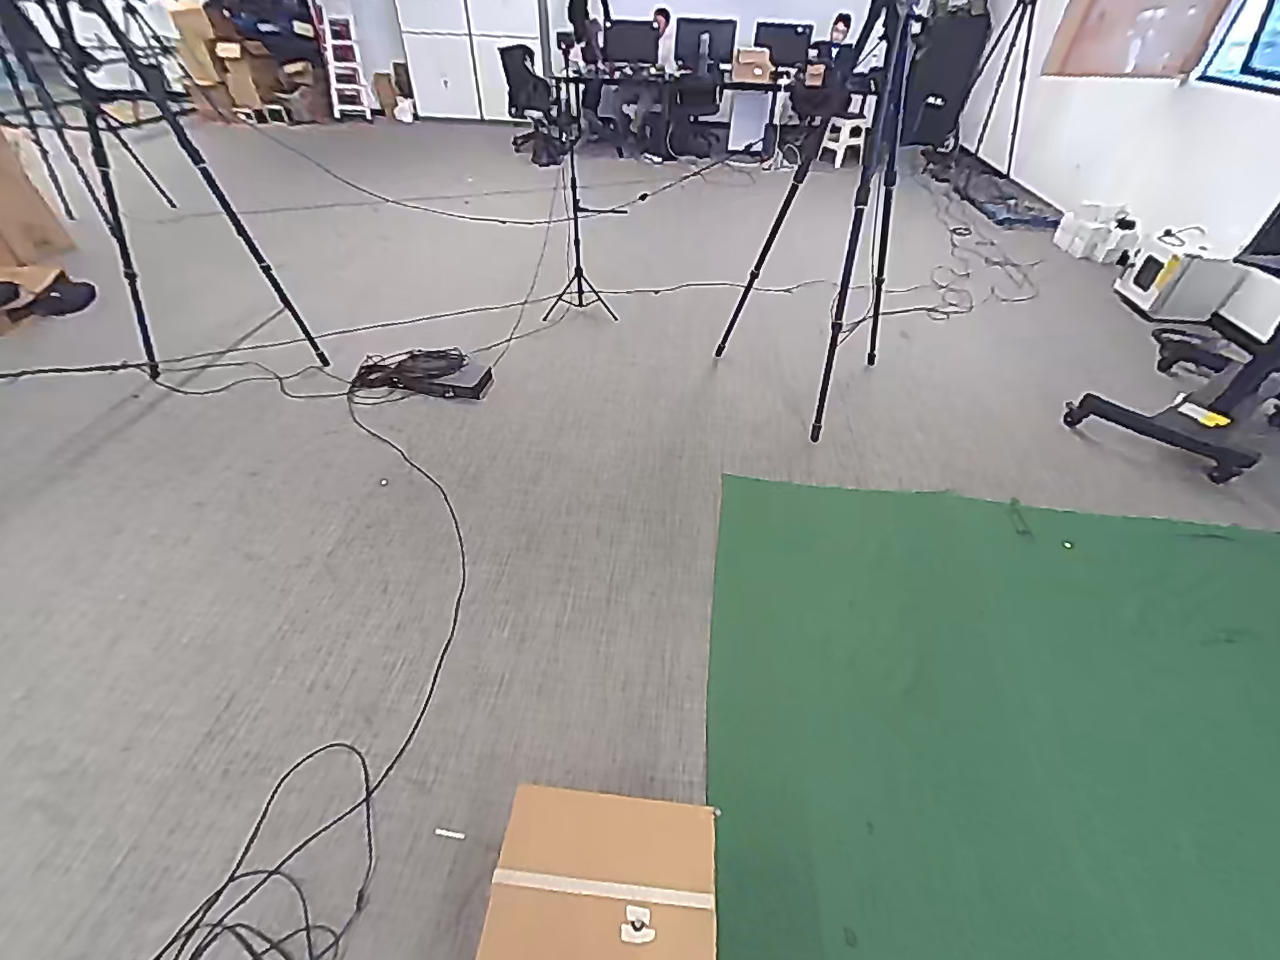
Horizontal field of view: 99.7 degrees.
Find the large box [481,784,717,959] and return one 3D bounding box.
[{"bbox_3d":[-0.067,0.848,1.082,0.408,0.320,0.320,5,43,3],"label":"large box"}]
